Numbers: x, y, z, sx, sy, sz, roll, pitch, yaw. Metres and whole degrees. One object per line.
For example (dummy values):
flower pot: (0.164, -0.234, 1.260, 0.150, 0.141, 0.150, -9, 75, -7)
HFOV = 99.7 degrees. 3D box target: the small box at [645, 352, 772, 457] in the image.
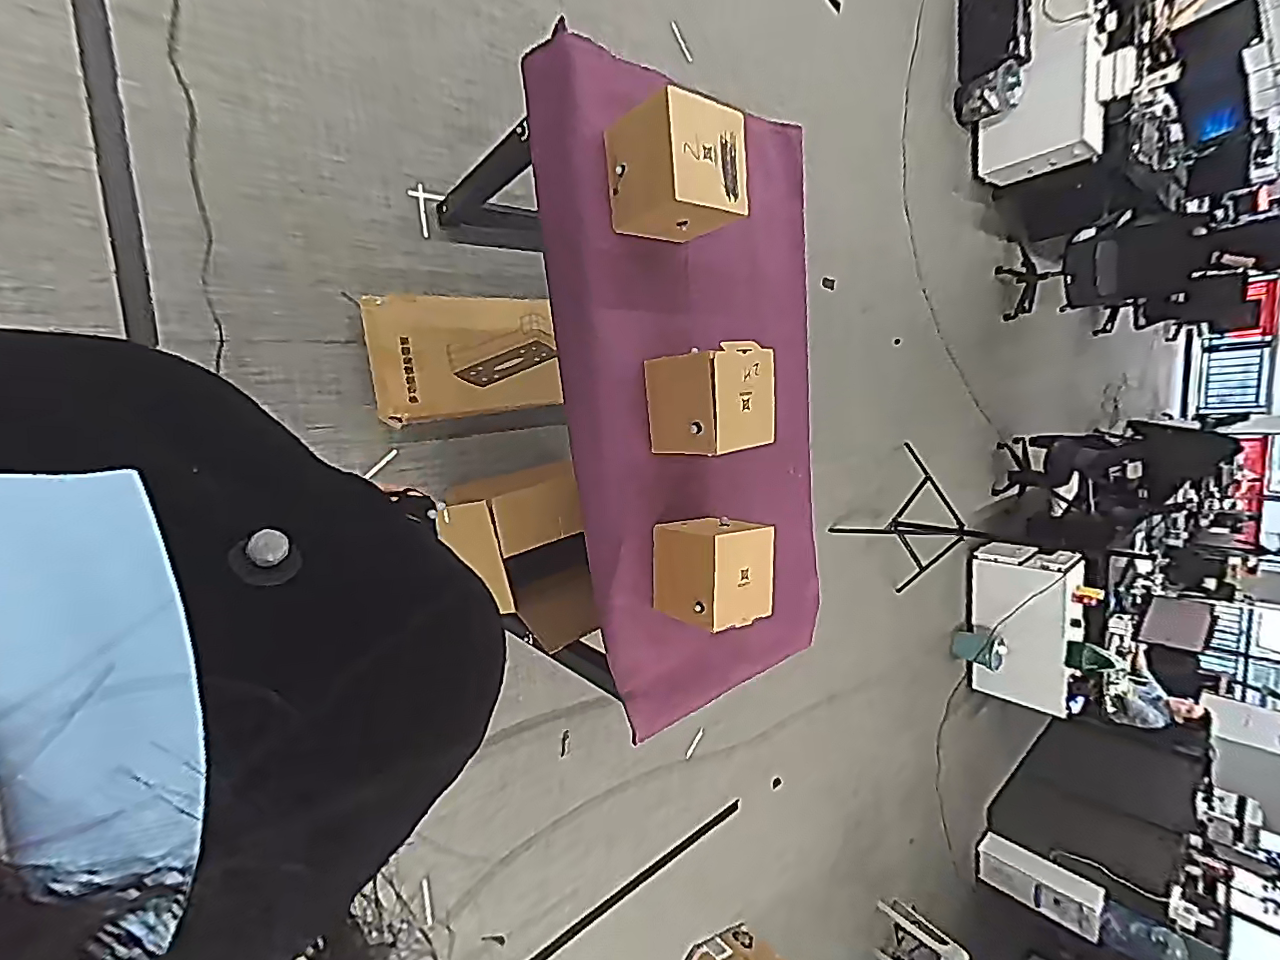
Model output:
small box: (0.126, -0.143, 1.011, 0.168, 0.176, 0.179, -13, 102, -40)

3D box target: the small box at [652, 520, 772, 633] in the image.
small box: (0.136, 0.174, 1.046, 0.168, 0.176, 0.179, -3, 96, -39)
